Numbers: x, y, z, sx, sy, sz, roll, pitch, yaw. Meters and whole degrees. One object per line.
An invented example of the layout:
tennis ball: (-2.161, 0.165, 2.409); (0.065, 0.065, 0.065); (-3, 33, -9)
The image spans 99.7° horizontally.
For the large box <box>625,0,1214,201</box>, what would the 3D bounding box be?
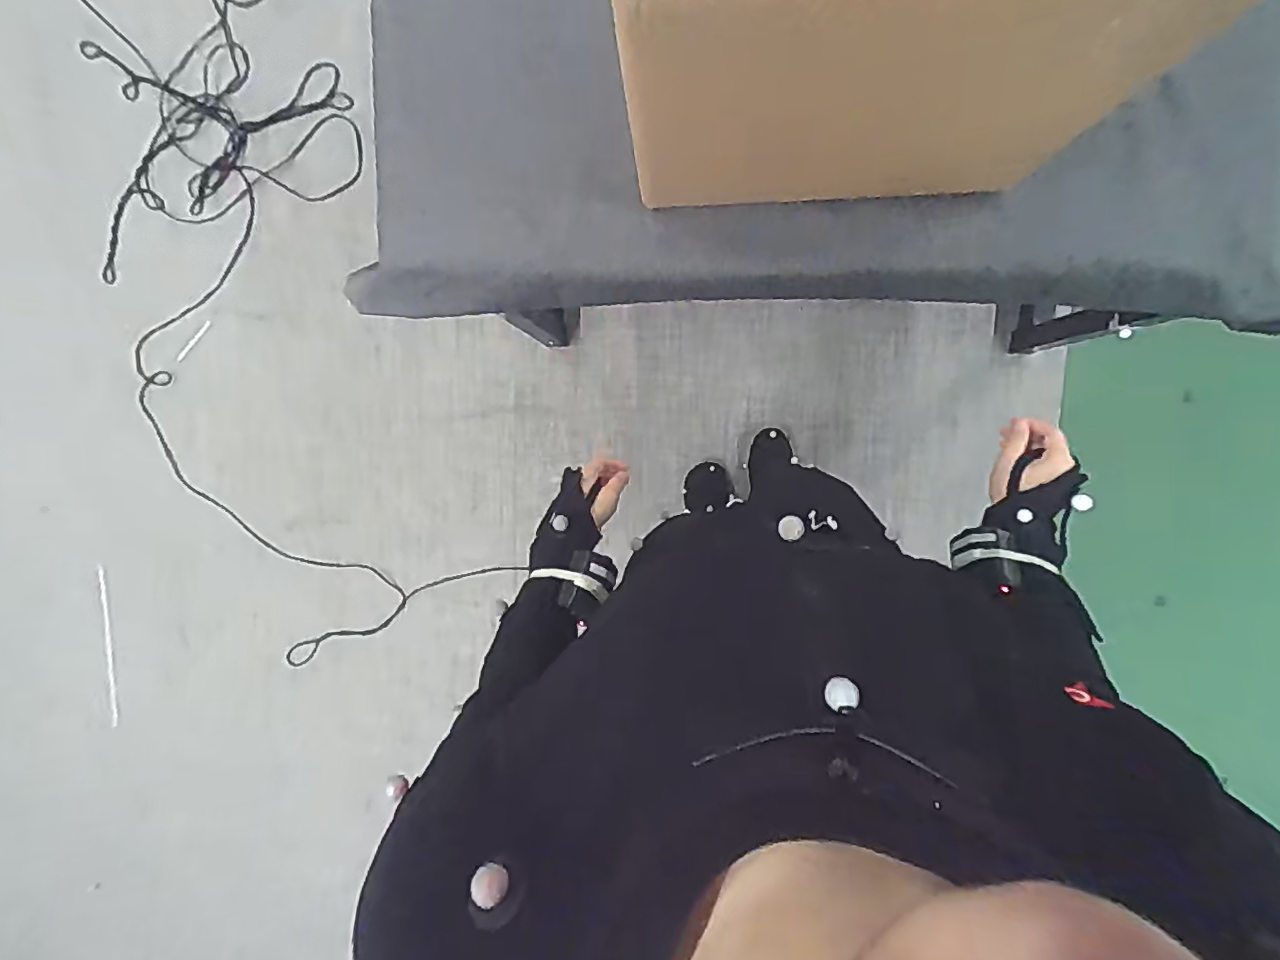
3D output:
large box: (0.187, -0.466, 0.452); (0.408, 0.320, 0.320); (-2, 95, 3)
